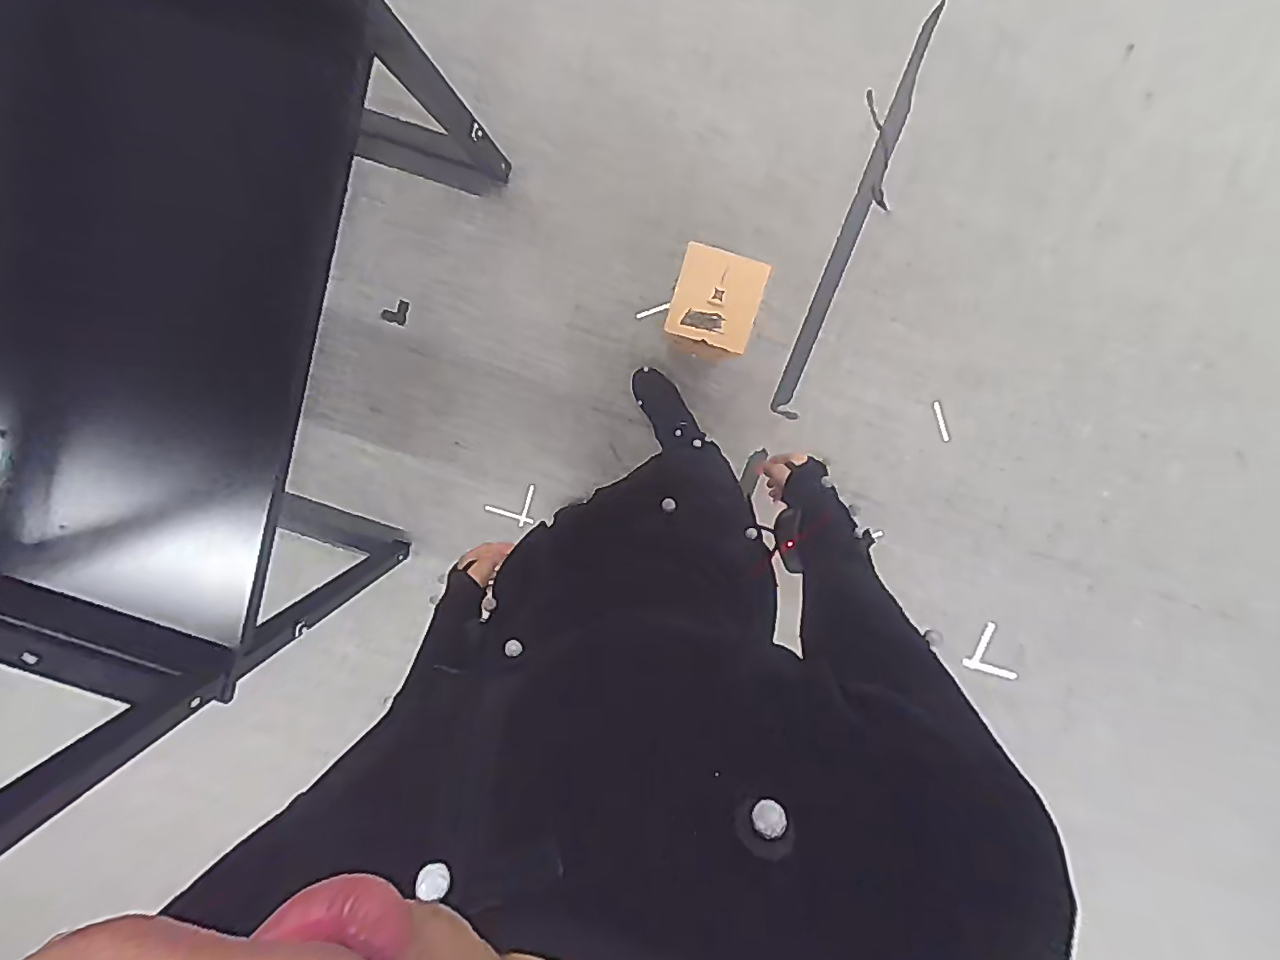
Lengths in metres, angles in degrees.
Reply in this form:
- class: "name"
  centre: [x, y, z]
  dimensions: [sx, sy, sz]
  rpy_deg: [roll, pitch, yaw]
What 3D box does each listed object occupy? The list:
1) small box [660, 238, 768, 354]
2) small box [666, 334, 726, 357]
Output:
- class: "small box"
  centre: [0.145, -0.365, 1.109]
  dimensions: [0.168, 0.176, 0.179]
  rpy_deg: [17, 101, -2]
- class: "small box"
  centre: [0.169, -0.433, 1.430]
  dimensions: [0.168, 0.176, 0.179]
  rpy_deg: [18, 102, -1]
